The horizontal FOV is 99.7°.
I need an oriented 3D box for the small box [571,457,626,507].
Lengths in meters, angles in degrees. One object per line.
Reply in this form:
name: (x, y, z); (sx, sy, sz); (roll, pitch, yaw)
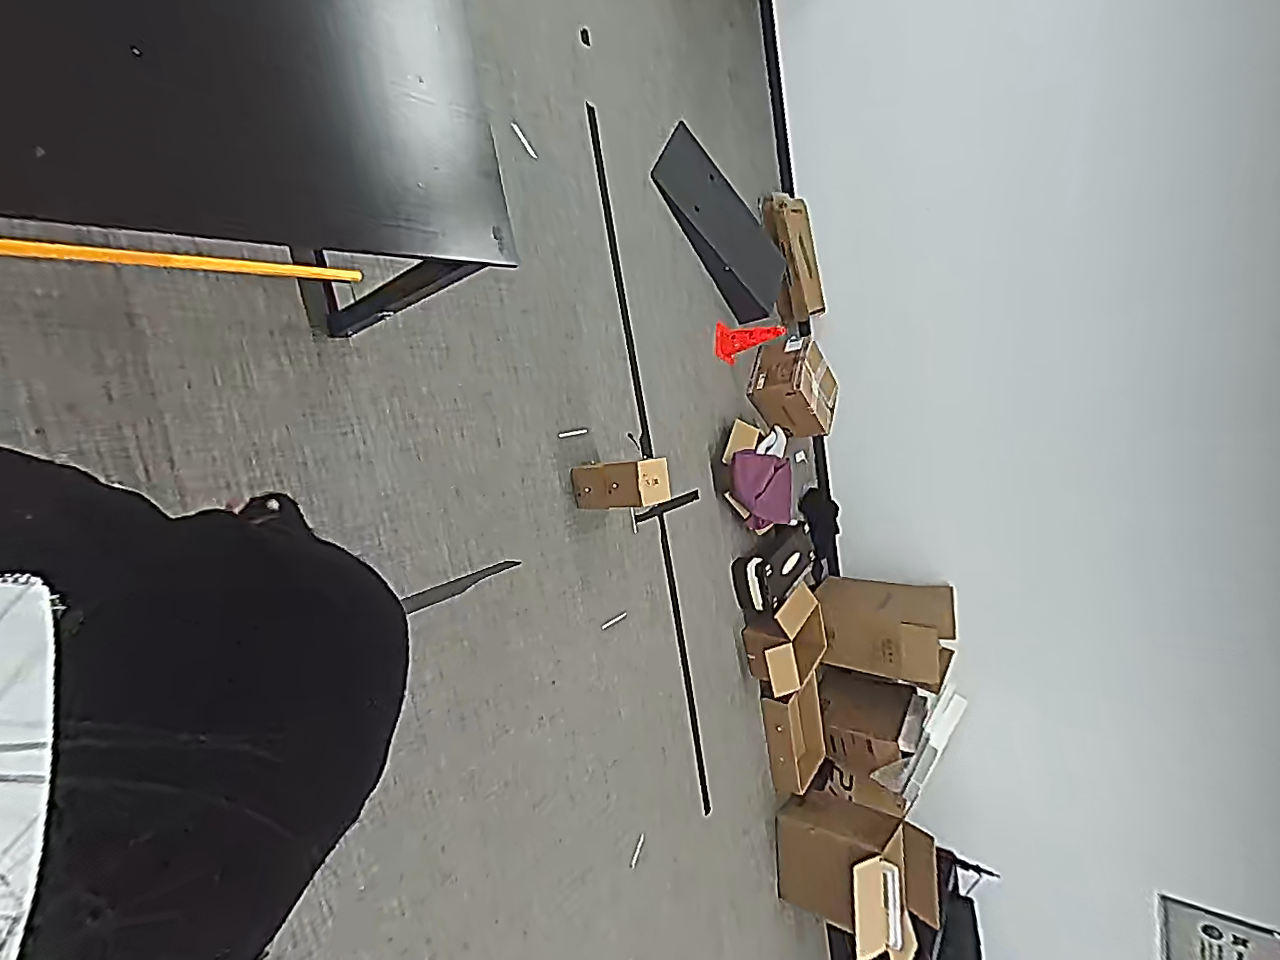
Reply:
small box: (-0.156, 0.009, 2.123); (0.179, 0.176, 0.168); (-20, 103, -49)

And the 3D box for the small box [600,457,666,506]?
small box: (-0.026, 0.003, 2.020); (0.179, 0.176, 0.168); (-11, 96, -50)
